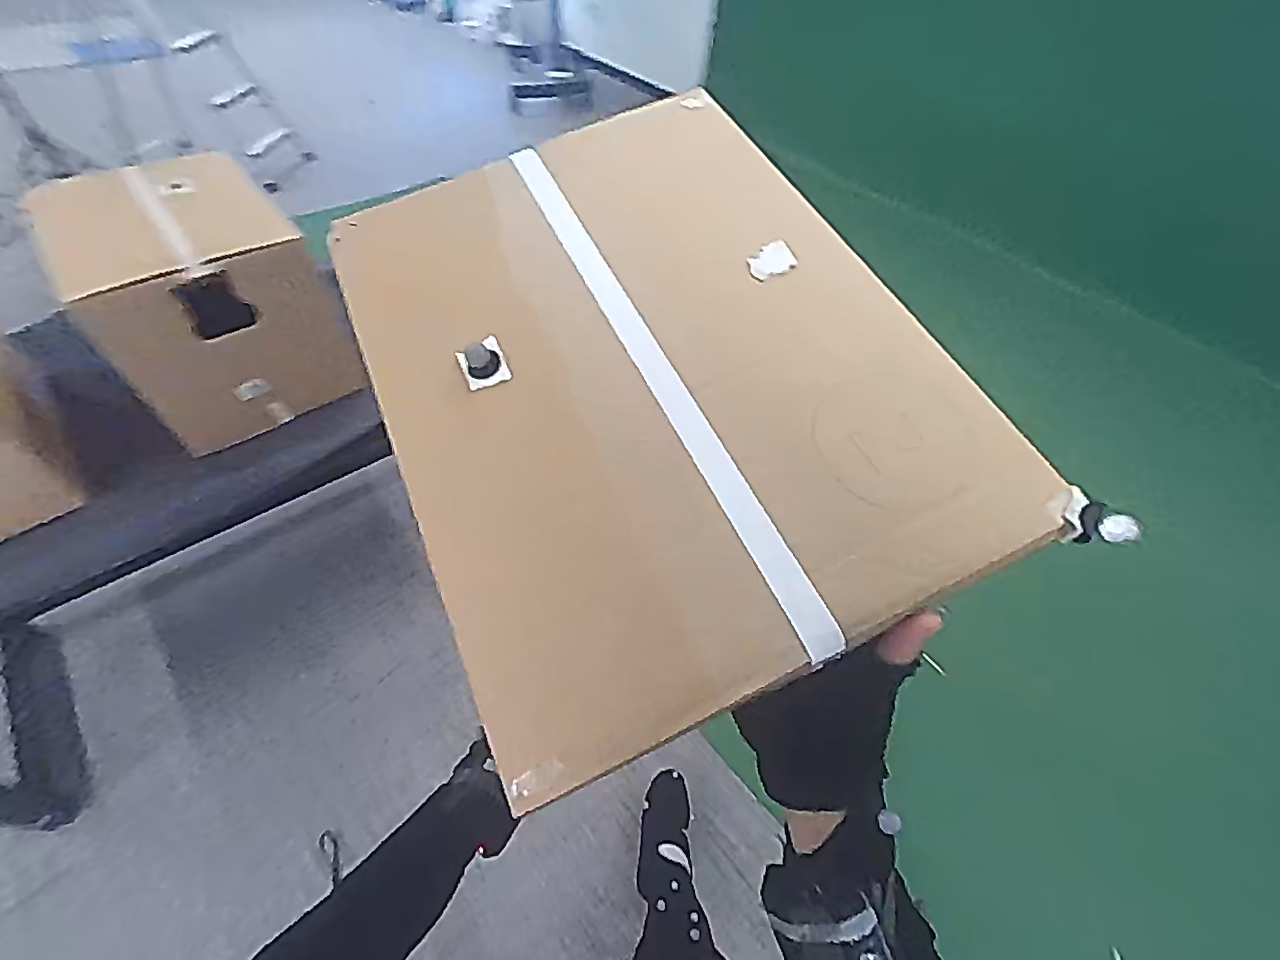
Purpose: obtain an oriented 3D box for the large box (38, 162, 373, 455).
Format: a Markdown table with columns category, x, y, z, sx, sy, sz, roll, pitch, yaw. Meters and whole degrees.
| category | x | y | z | sx | sy | sz | roll | pitch | yaw |
| --- | --- | --- | --- | --- | --- | --- | --- | --- | --- |
| large box | -0.769 | -0.321 | 0.996 | 0.320 | 0.320 | 0.408 | -32 | 59 | -26 |
